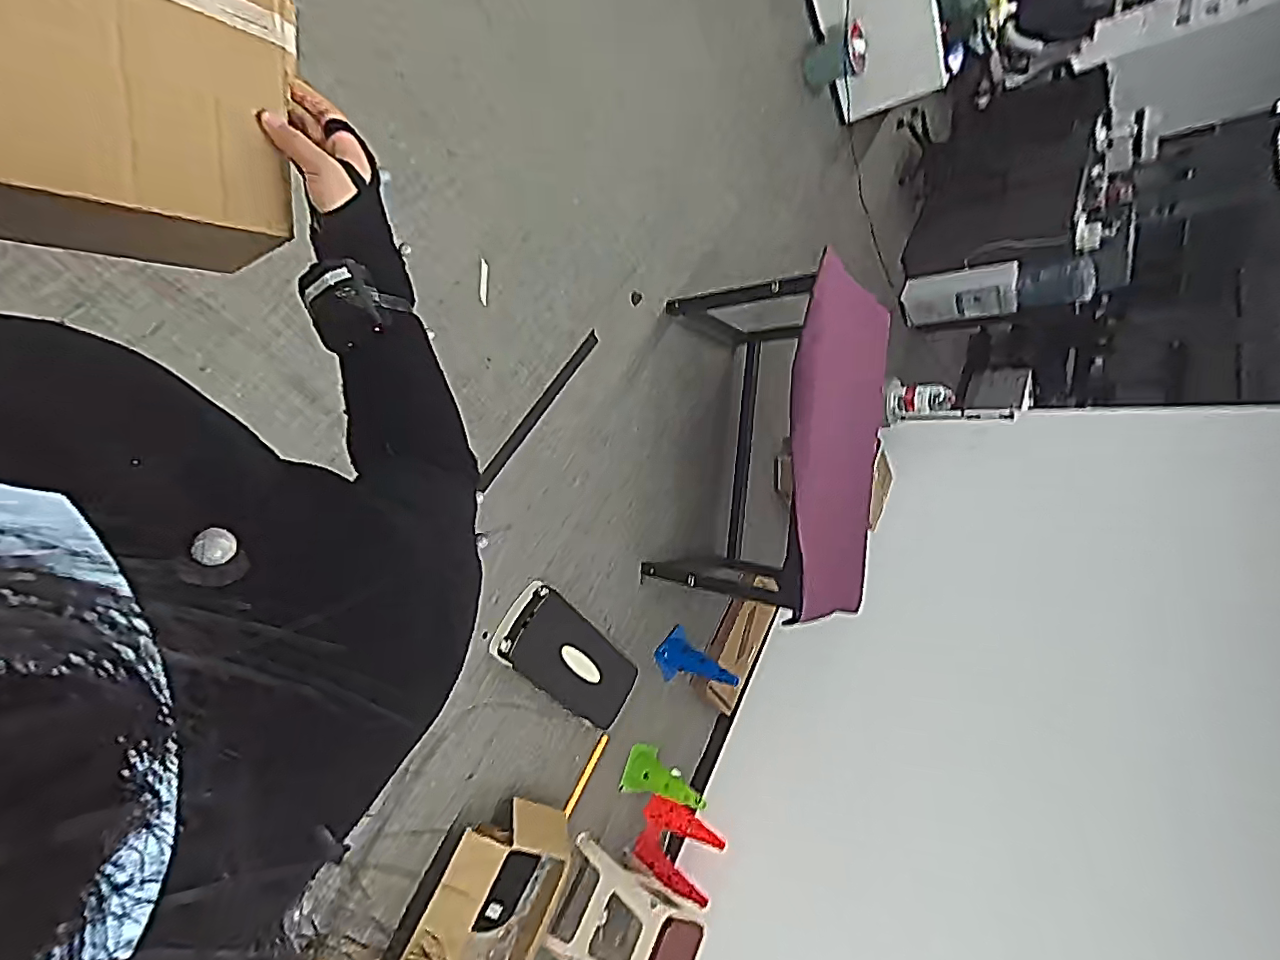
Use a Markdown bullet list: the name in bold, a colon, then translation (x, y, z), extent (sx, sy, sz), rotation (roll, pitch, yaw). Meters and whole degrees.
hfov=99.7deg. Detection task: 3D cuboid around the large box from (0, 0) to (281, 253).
- **large box**: translation (-0.548, -0.380, 0.410), extent (0.408, 0.320, 0.320), rotation (-7, 104, -43)
